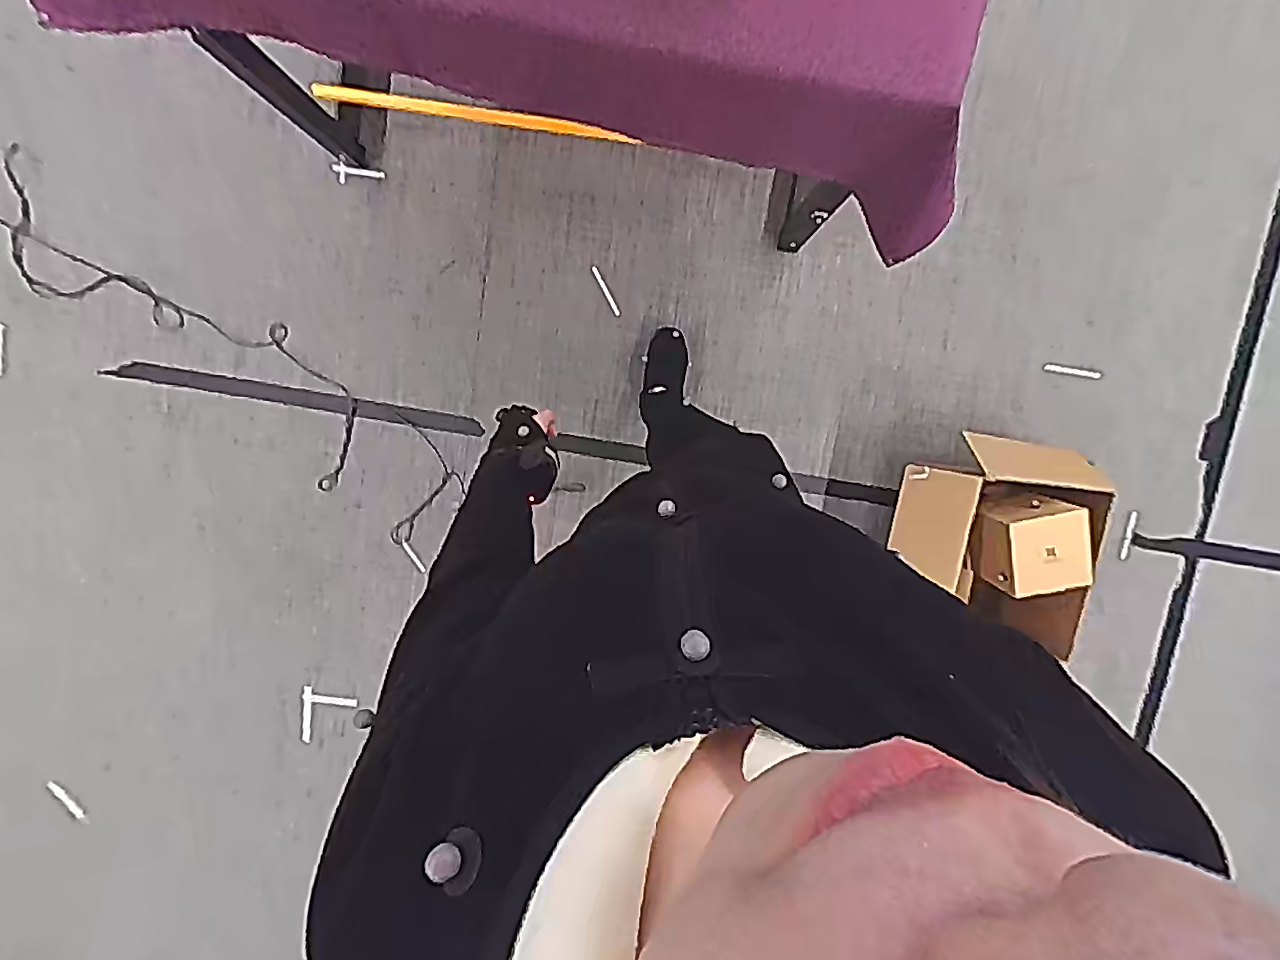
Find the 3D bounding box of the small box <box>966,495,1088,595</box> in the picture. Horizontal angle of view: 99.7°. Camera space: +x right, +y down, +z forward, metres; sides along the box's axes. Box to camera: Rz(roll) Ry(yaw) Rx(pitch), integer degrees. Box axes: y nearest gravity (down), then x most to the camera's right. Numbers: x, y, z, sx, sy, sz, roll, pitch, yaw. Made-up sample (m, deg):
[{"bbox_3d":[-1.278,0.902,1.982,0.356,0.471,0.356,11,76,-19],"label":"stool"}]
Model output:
[{"bbox_3d":[0.879,0.139,1.242,0.168,0.176,0.179,-12,101,4],"label":"small box"}]
